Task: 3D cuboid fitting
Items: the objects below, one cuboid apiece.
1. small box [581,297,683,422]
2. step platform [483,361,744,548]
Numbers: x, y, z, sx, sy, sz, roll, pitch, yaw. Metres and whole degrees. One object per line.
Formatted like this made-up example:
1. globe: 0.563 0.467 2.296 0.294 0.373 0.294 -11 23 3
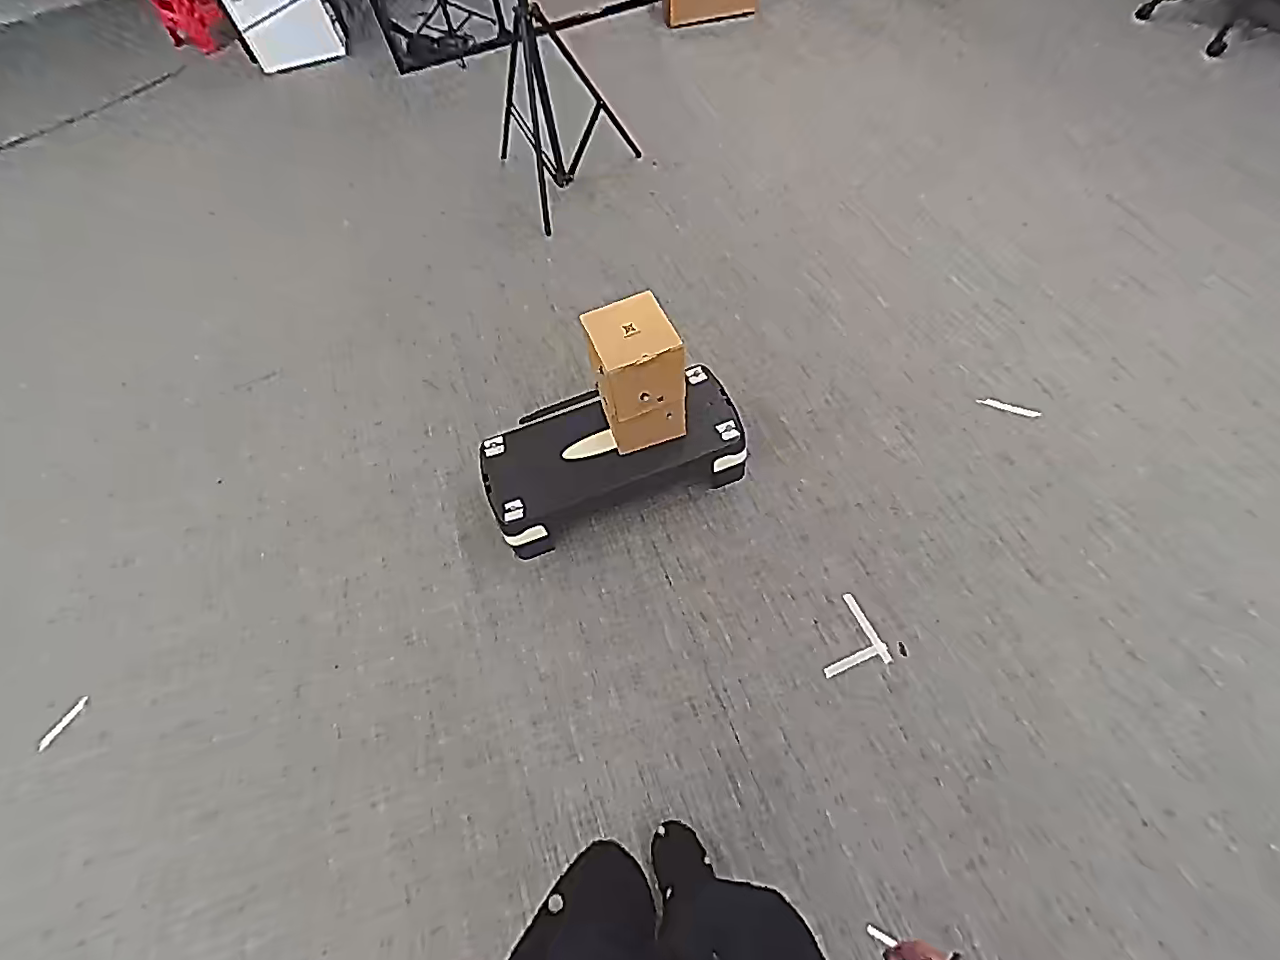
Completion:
1. small box: -0.016 -0.258 1.177 0.168 0.176 0.179 -22 62 -7
2. step platform: -0.069 -0.075 1.467 0.684 0.204 0.286 -21 60 -5
